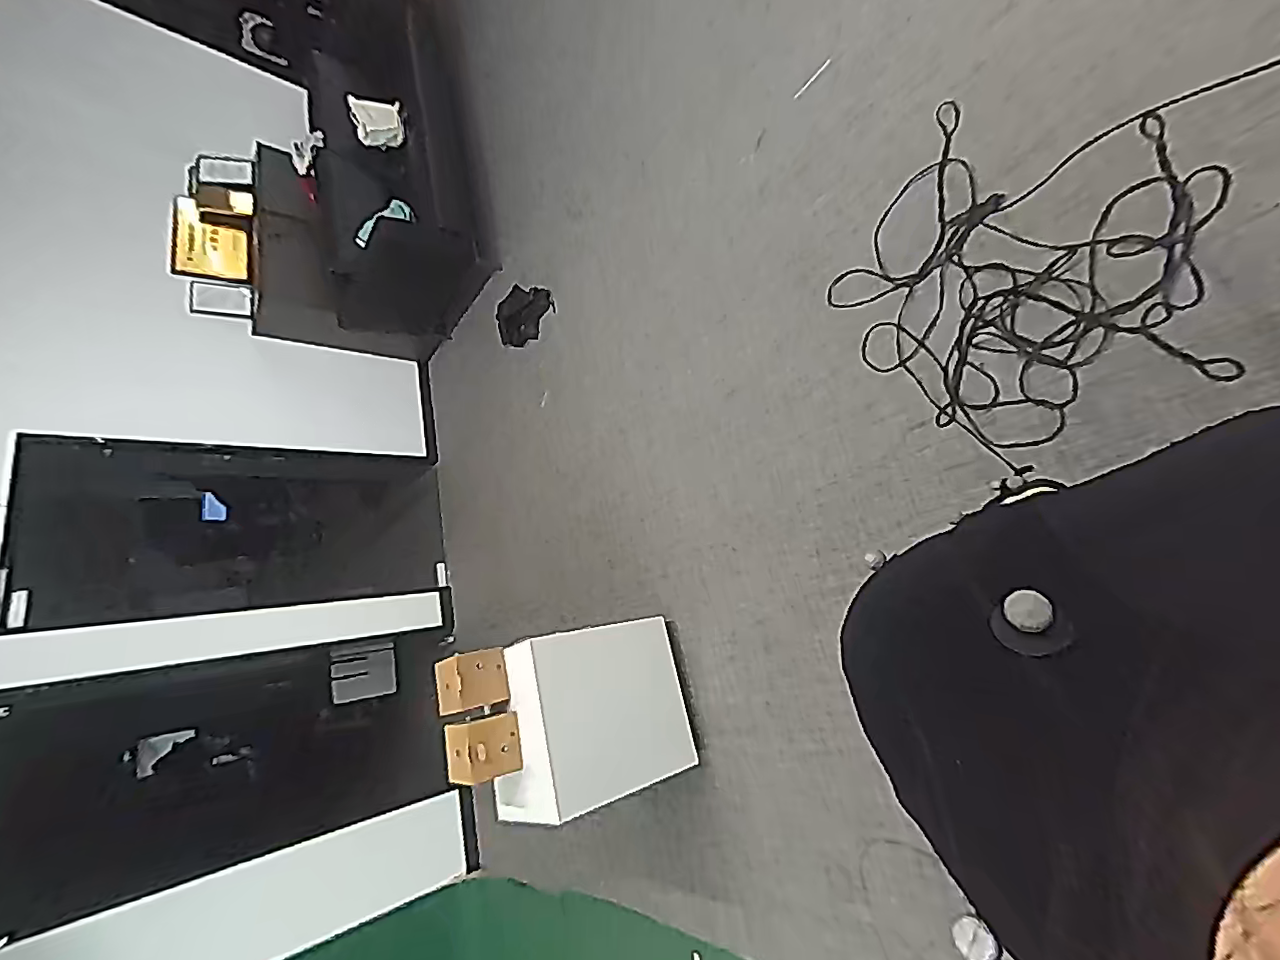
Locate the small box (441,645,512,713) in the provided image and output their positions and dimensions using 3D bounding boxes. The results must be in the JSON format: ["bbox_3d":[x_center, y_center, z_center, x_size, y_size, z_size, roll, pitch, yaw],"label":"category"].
[{"bbox_3d":[-0.525,0.643,1.752,0.179,0.176,0.168,-34,63,44],"label":"small box"}]
